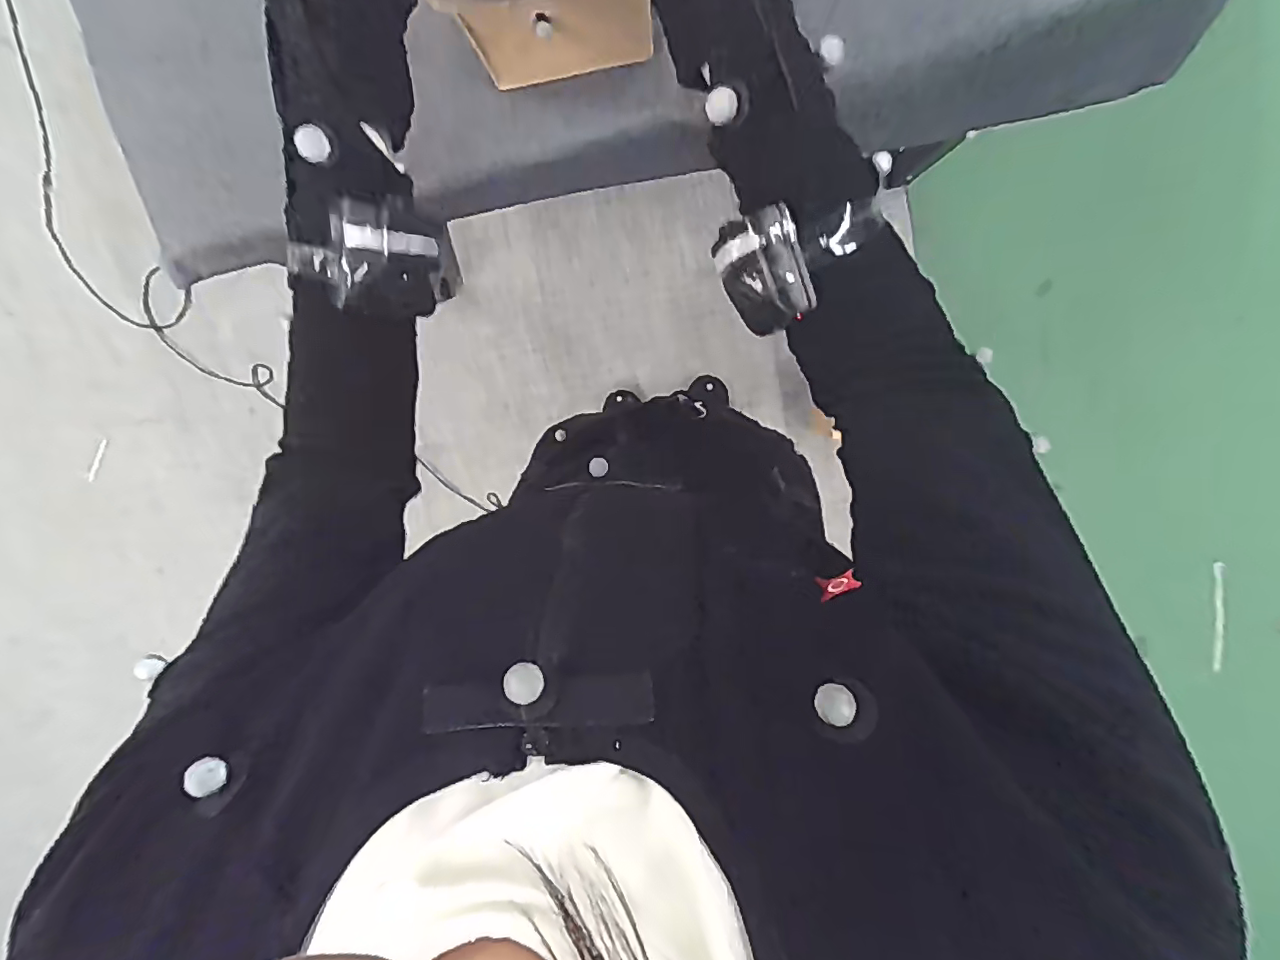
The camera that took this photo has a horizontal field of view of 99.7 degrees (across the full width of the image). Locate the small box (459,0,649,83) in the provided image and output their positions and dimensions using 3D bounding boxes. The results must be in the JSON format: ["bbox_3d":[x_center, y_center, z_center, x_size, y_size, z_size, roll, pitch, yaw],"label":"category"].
[{"bbox_3d":[-0.091,-0.510,0.504,0.179,0.176,0.168,-8,101,4],"label":"small box"}]
